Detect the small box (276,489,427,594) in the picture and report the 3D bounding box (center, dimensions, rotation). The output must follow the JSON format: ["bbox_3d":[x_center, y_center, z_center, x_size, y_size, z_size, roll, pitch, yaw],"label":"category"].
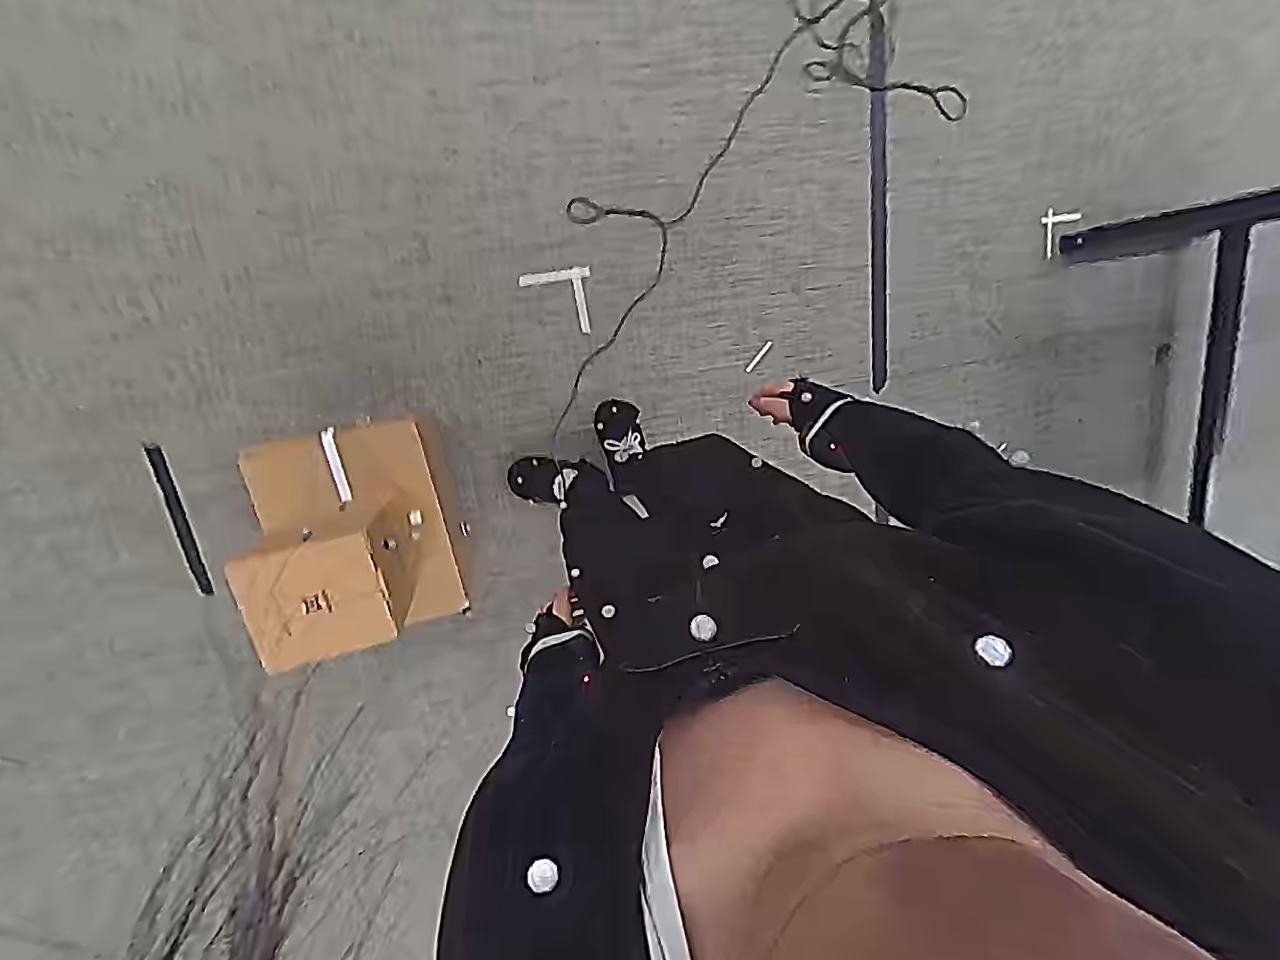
[{"bbox_3d":[-0.498,0.125,0.963,0.179,0.176,0.168,-14,105,-12],"label":"small box"}]

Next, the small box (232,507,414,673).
[{"bbox_3d":[-0.452,0.151,0.809,0.179,0.176,0.168,-15,104,-11],"label":"small box"}]
